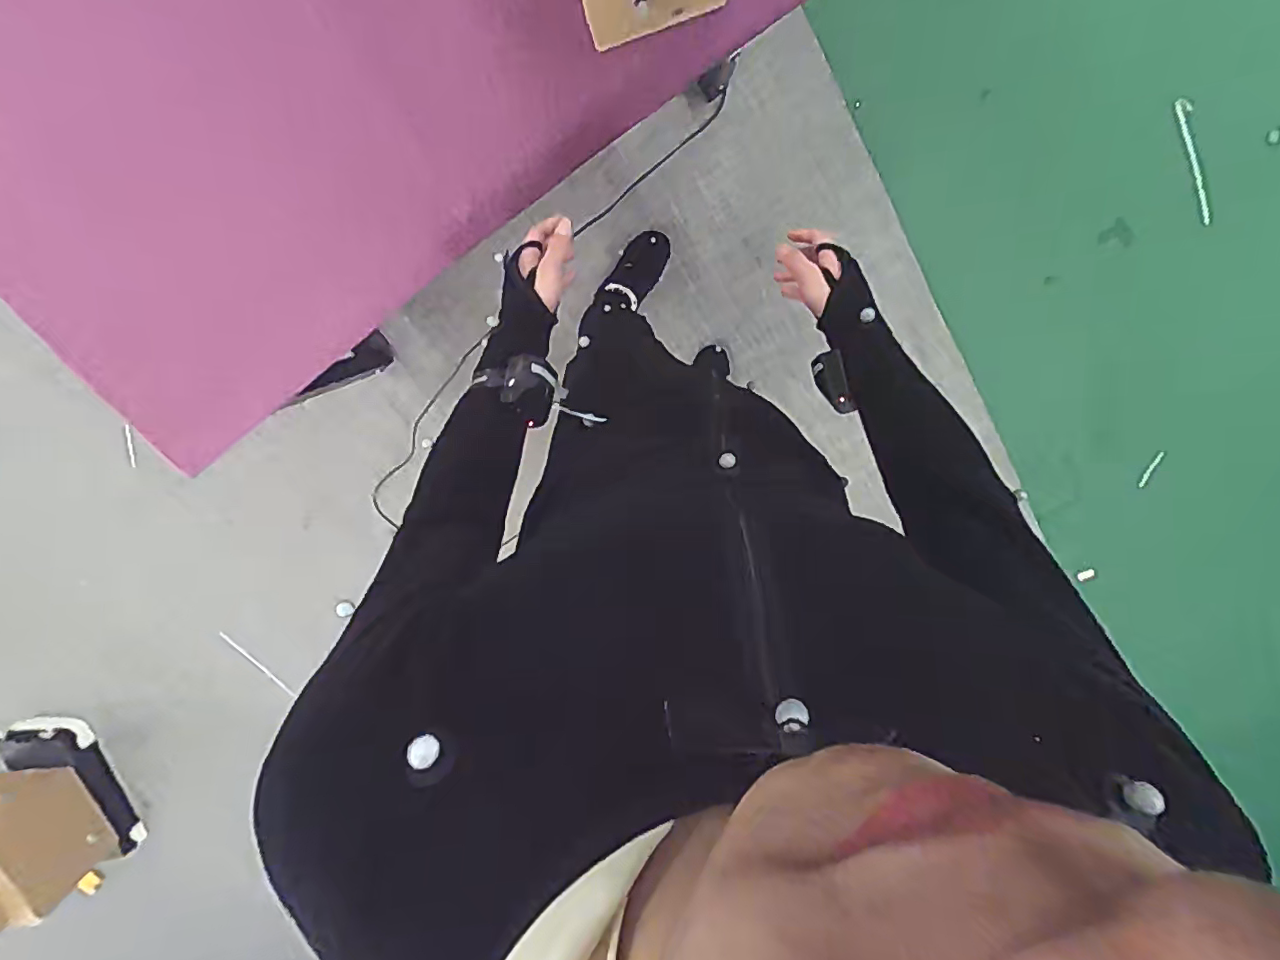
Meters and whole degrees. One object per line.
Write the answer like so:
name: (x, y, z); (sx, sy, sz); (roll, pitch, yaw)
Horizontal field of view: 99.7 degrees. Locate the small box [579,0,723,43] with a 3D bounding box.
small box: (-0.001, -0.598, 0.561); (0.168, 0.176, 0.179); (-14, 108, 8)
